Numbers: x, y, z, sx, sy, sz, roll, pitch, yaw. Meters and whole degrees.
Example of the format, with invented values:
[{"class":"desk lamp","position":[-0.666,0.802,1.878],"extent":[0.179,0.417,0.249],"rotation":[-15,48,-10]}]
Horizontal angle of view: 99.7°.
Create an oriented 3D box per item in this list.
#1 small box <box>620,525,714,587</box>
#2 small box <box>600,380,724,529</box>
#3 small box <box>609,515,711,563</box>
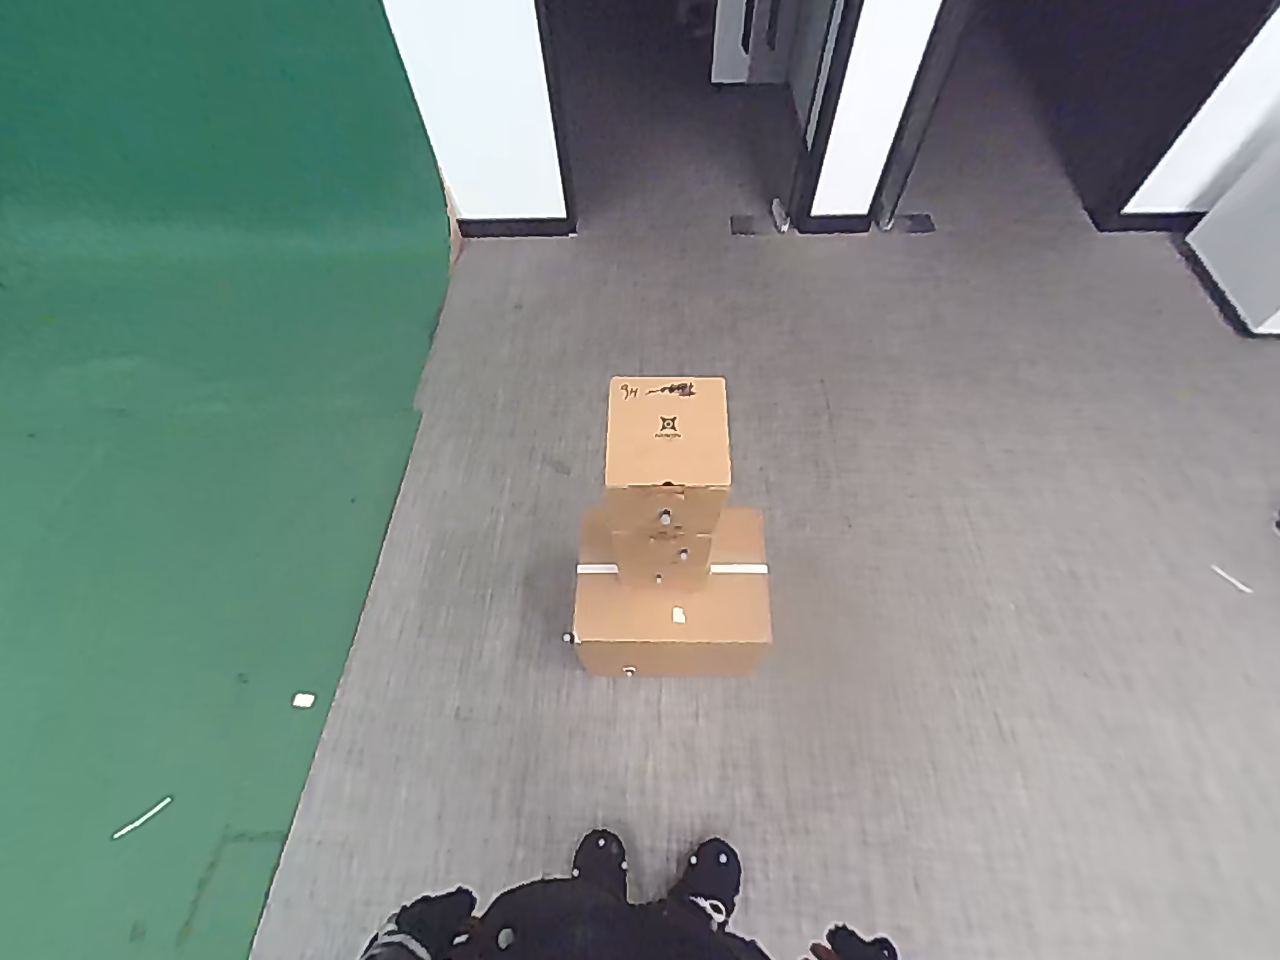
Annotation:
[{"class":"small box","position":[0.052,0.117,1.102],"extent":[0.179,0.176,0.168],"rotation":[0,65,2]},{"class":"small box","position":[0.034,-0.032,0.813],"extent":[0.168,0.176,0.179],"rotation":[0,66,2]},{"class":"small box","position":[0.037,0.042,0.959],"extent":[0.168,0.176,0.179],"rotation":[1,64,2]}]
